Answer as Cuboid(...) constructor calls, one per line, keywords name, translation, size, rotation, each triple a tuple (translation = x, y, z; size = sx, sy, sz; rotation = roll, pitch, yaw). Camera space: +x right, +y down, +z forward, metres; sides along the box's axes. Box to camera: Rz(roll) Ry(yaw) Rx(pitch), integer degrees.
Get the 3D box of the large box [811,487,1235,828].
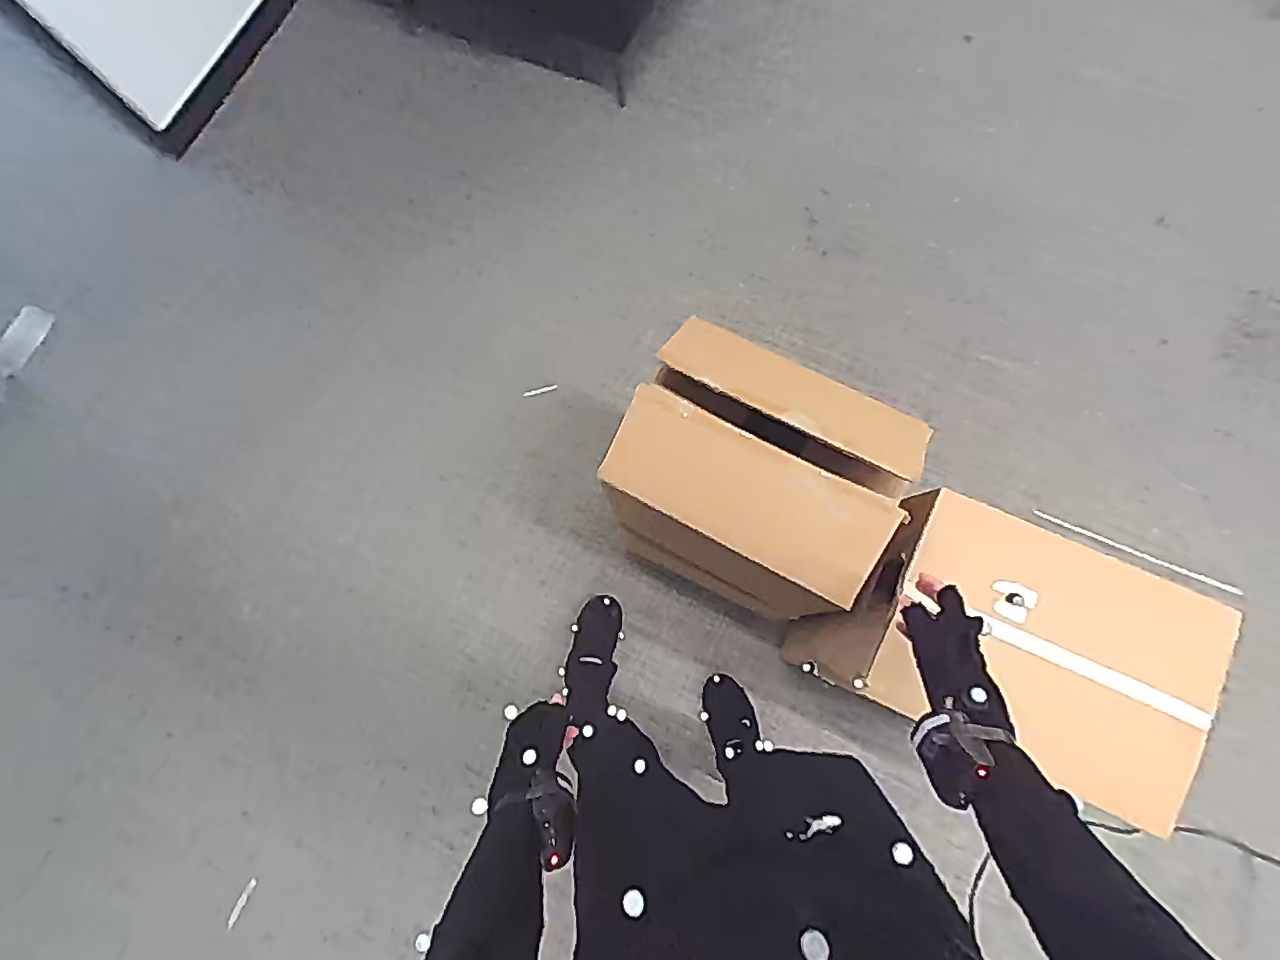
Cuboid(name="large box", translation=(0.545, 0.244, 0.859), size=(0.408, 0.320, 0.320), rotation=(24, 84, 10))
